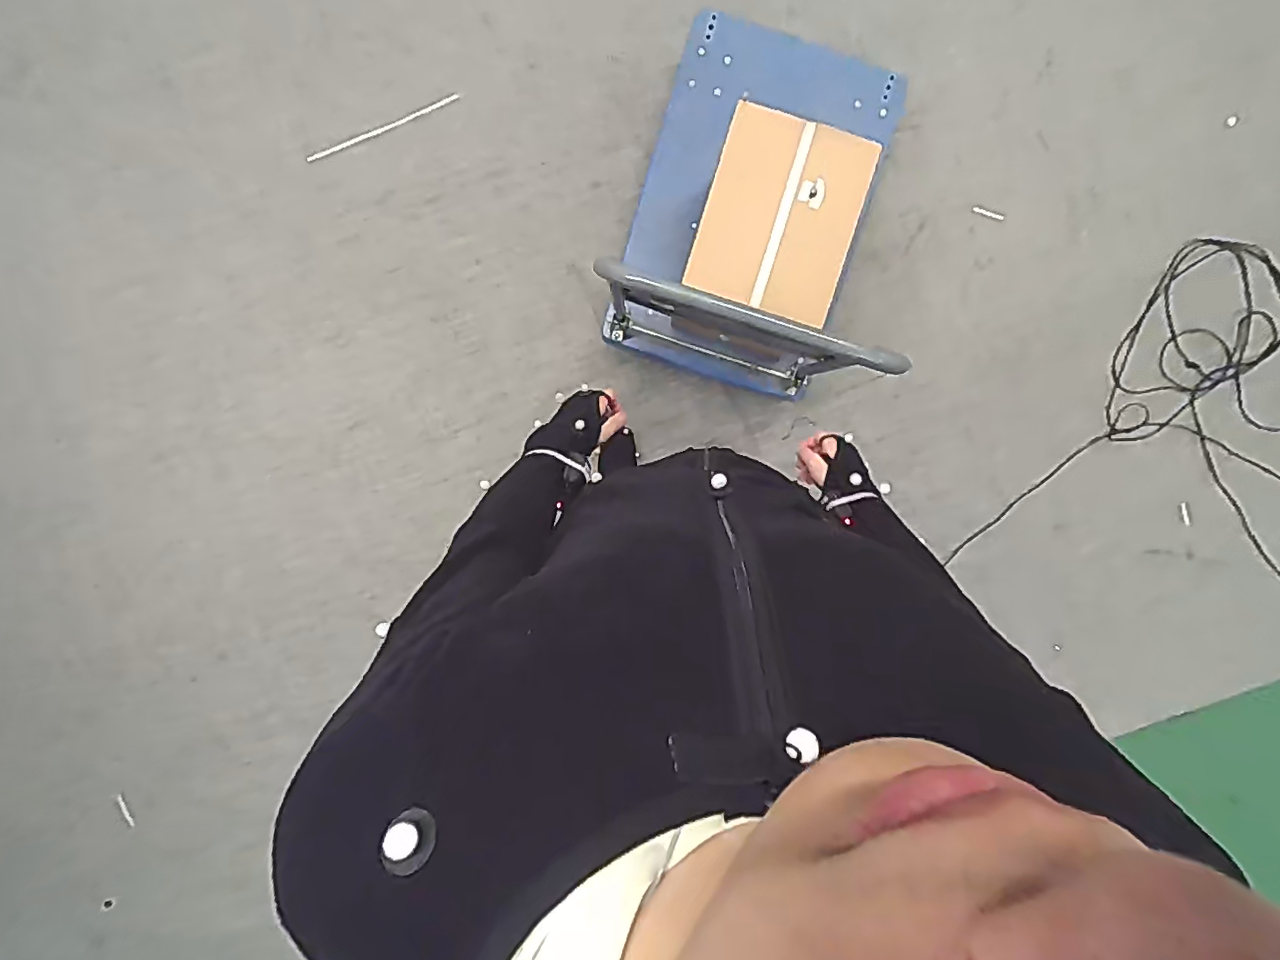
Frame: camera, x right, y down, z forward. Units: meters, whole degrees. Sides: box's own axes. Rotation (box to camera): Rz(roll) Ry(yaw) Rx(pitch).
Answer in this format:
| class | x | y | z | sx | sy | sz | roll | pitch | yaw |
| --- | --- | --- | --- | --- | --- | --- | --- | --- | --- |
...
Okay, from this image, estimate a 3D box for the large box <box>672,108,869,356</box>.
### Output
| class | x | y | z | sx | sy | sz | roll | pitch | yaw |
| --- | --- | --- | --- | --- | --- | --- | --- | --- | --- |
| large box | 0.280 | -0.550 | 1.285 | 0.320 | 0.320 | 0.408 | 17 | 93 | -2 |
